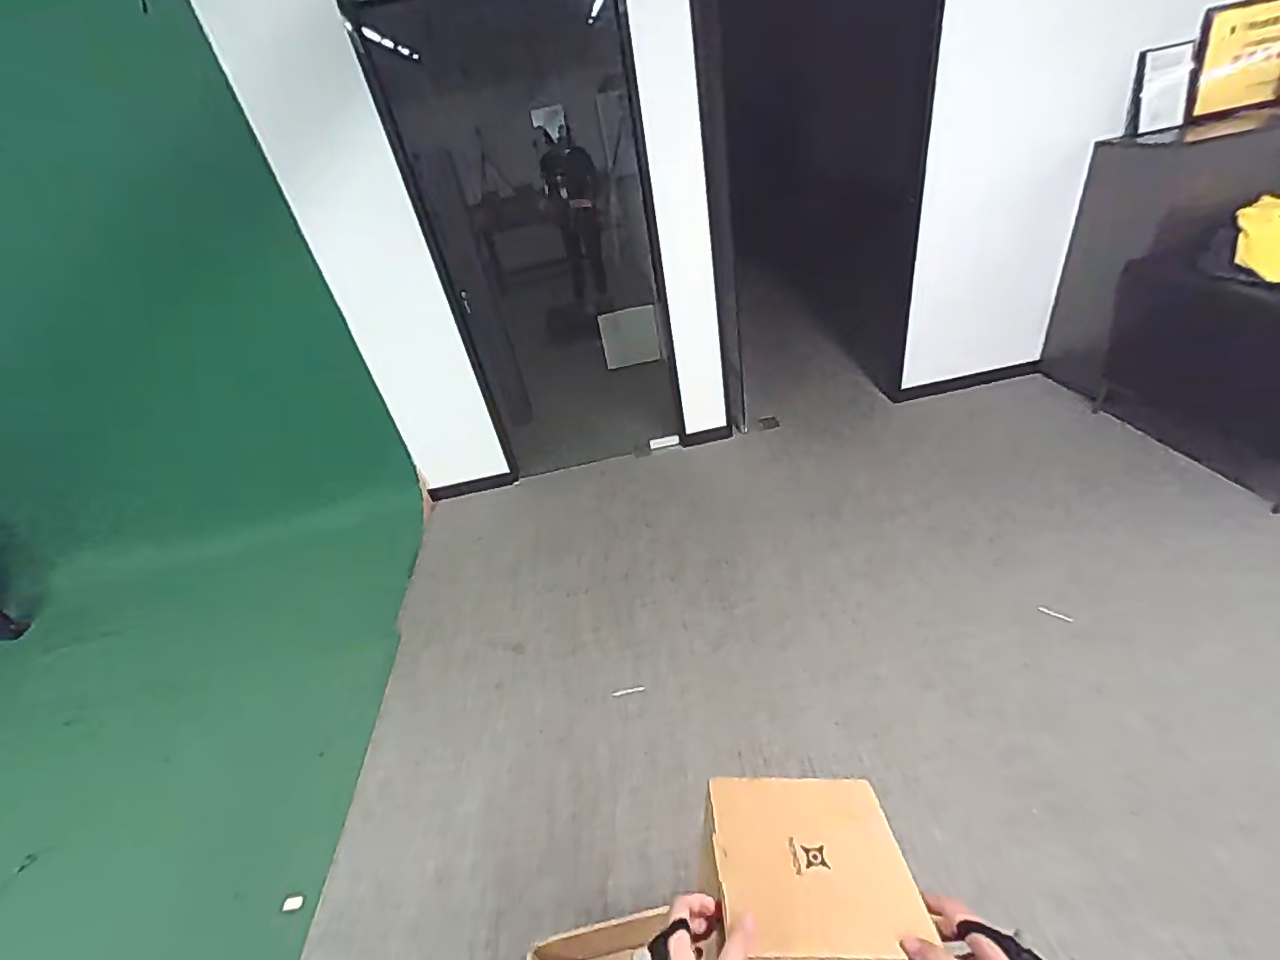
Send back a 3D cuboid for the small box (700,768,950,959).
[{"bbox_3d":[0.157,0.413,0.526,0.179,0.176,0.168,1,22,0],"label":"small box"}]
